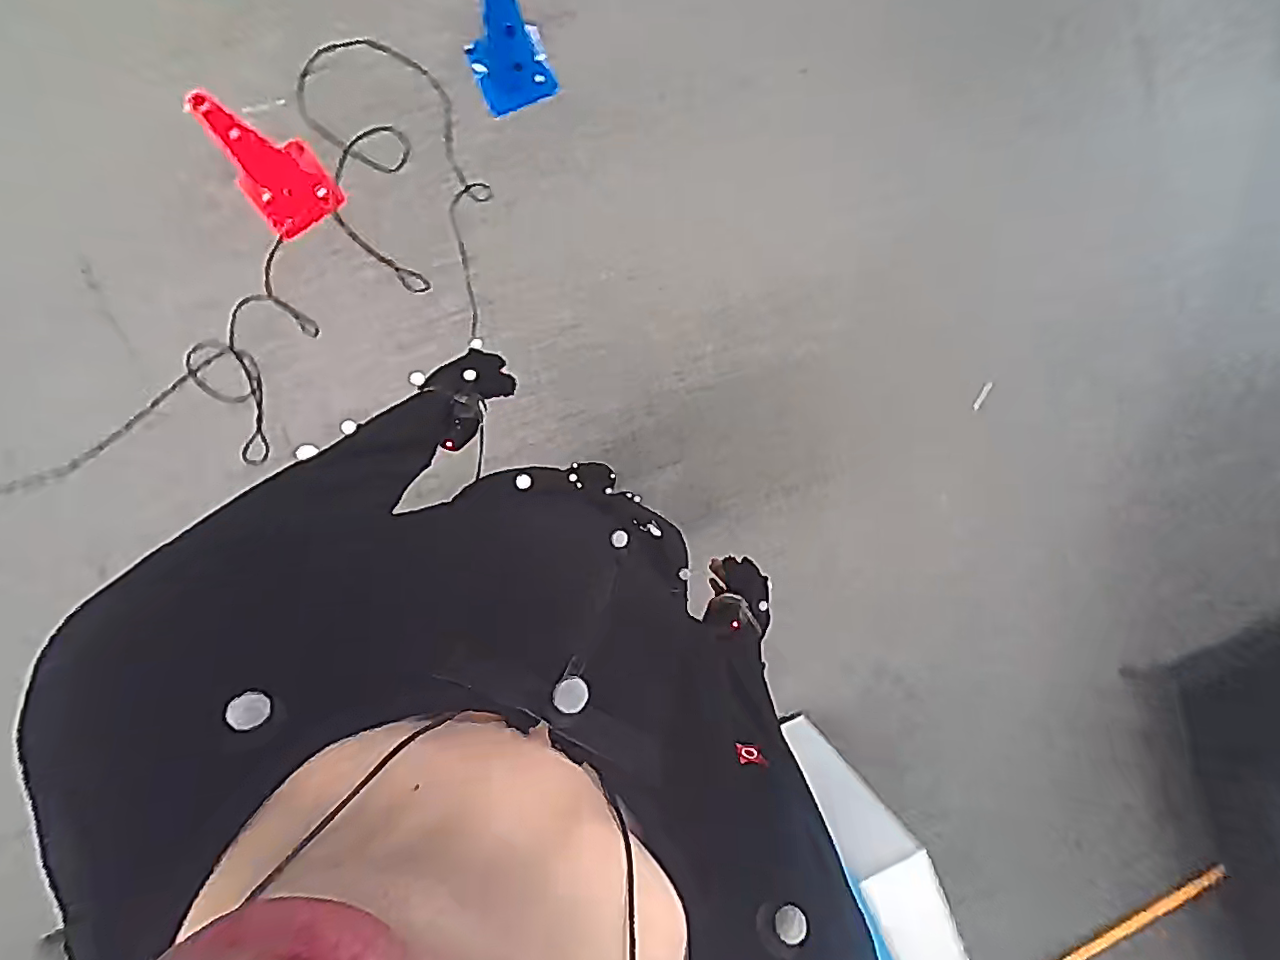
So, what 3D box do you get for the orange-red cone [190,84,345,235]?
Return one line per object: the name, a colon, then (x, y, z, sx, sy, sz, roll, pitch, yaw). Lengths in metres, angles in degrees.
orange-red cone: (-0.873, -0.753, 1.219, 0.198, 0.360, 0.199, -36, 94, -5)
